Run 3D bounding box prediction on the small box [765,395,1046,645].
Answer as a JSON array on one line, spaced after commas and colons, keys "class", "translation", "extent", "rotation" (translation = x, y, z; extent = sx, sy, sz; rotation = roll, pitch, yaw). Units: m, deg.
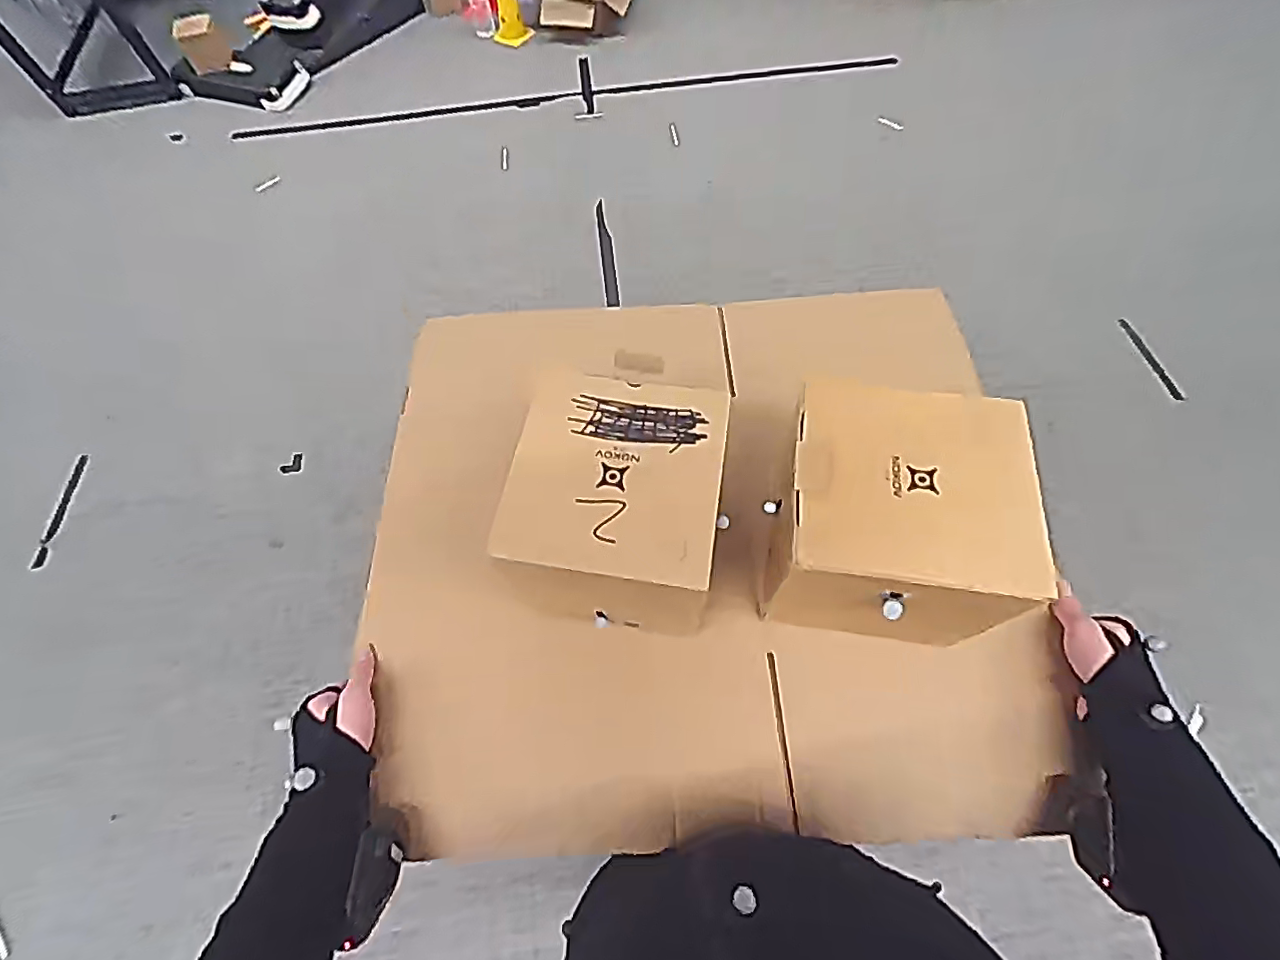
[{"class": "small box", "translation": [0.218, 0.045, 0.492], "extent": [0.179, 0.176, 0.168], "rotation": [7, 64, 9]}]
